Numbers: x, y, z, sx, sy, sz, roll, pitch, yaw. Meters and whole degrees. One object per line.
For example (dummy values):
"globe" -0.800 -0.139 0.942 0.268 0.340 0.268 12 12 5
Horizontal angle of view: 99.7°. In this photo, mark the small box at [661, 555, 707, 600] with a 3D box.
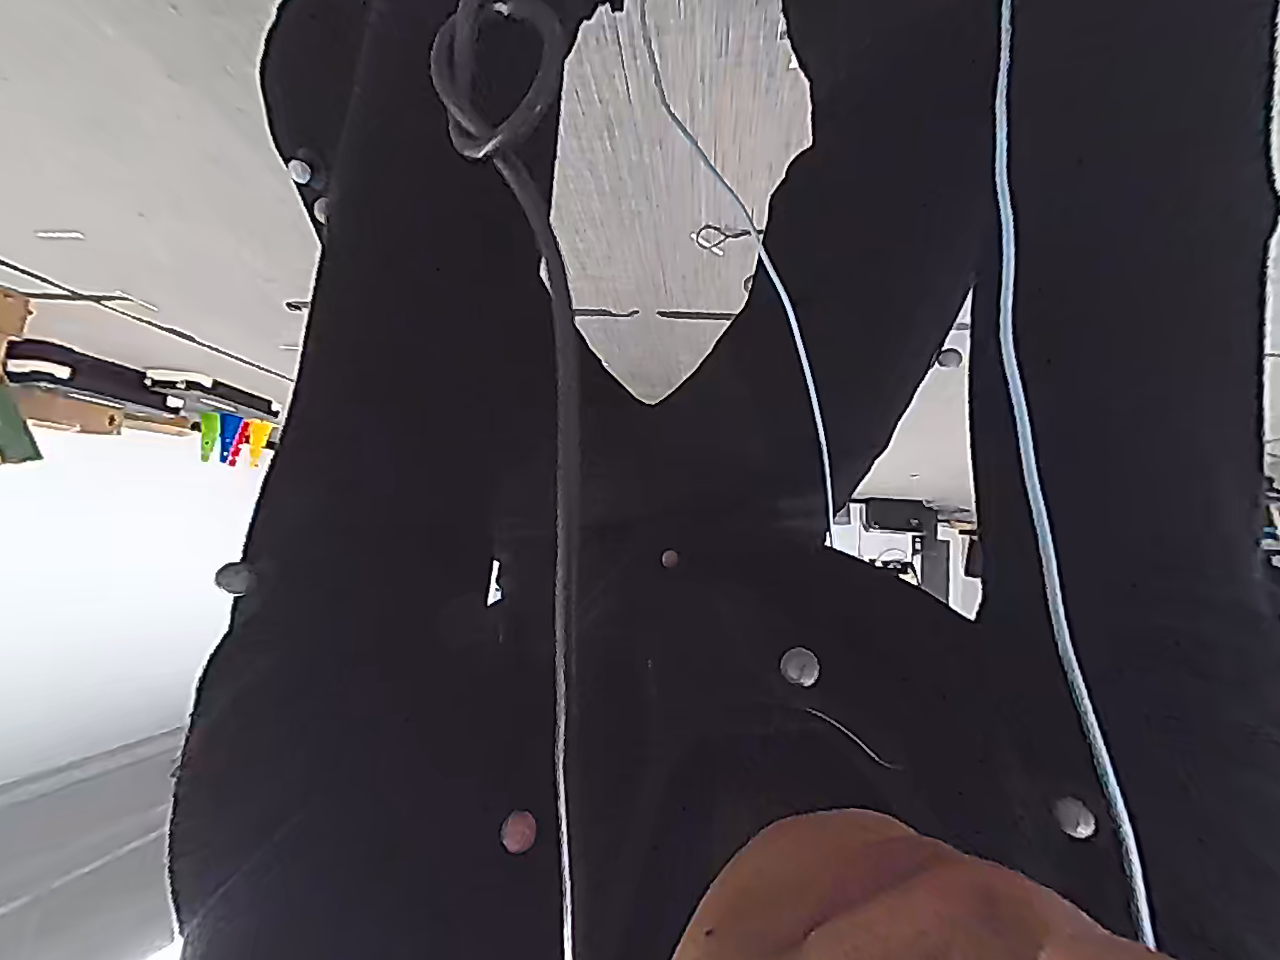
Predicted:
"small box" 0.187 0.411 2.299 0.179 0.176 0.168 4 173 5

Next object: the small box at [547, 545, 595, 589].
"small box" -0.295 0.377 2.365 0.179 0.176 0.168 4 174 6
